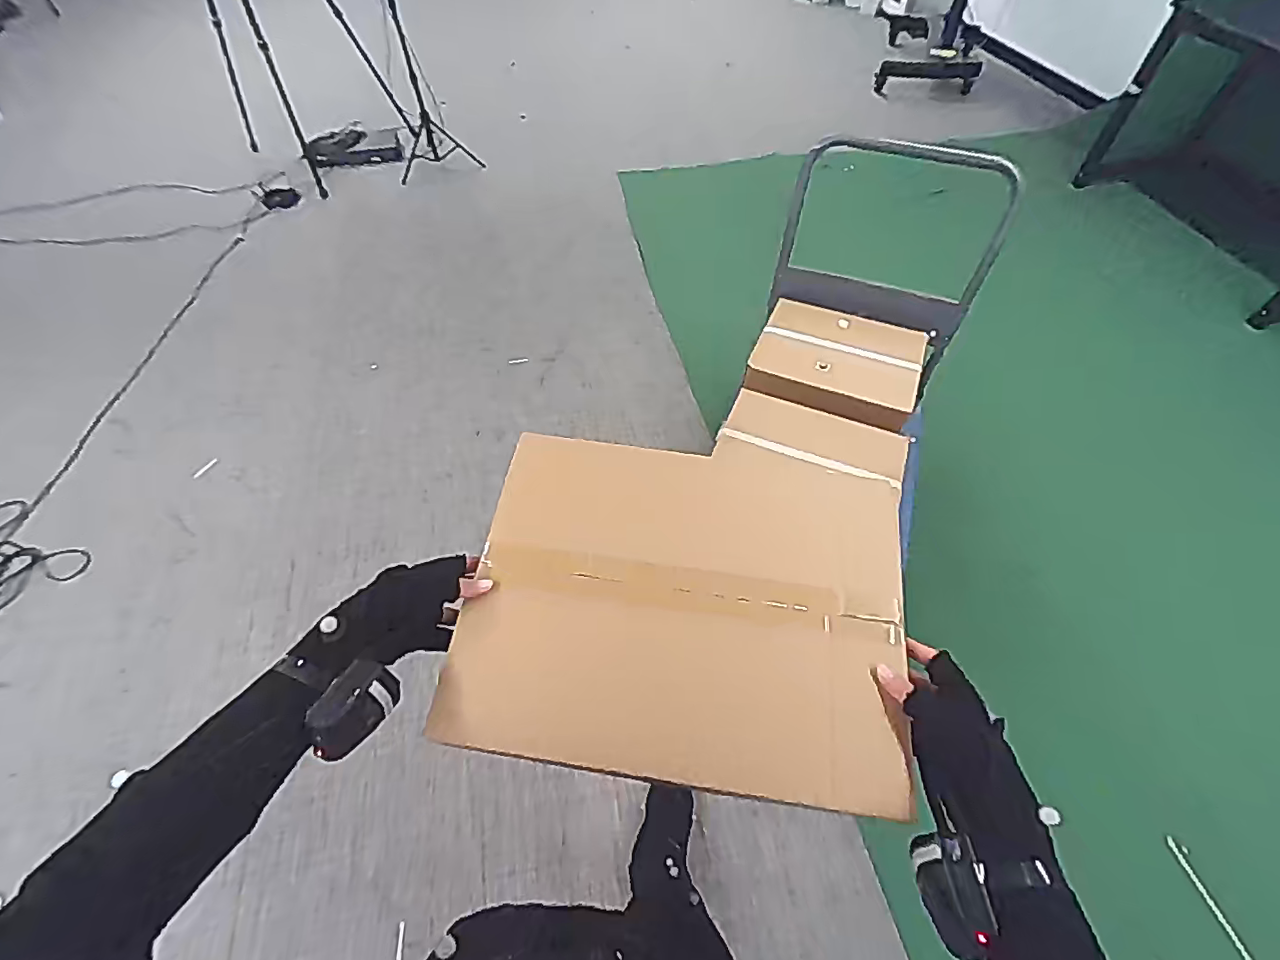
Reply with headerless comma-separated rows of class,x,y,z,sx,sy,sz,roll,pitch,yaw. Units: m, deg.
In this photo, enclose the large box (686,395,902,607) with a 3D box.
large box,0.360,0.050,1.322,0.408,0.320,0.320,20,55,13
